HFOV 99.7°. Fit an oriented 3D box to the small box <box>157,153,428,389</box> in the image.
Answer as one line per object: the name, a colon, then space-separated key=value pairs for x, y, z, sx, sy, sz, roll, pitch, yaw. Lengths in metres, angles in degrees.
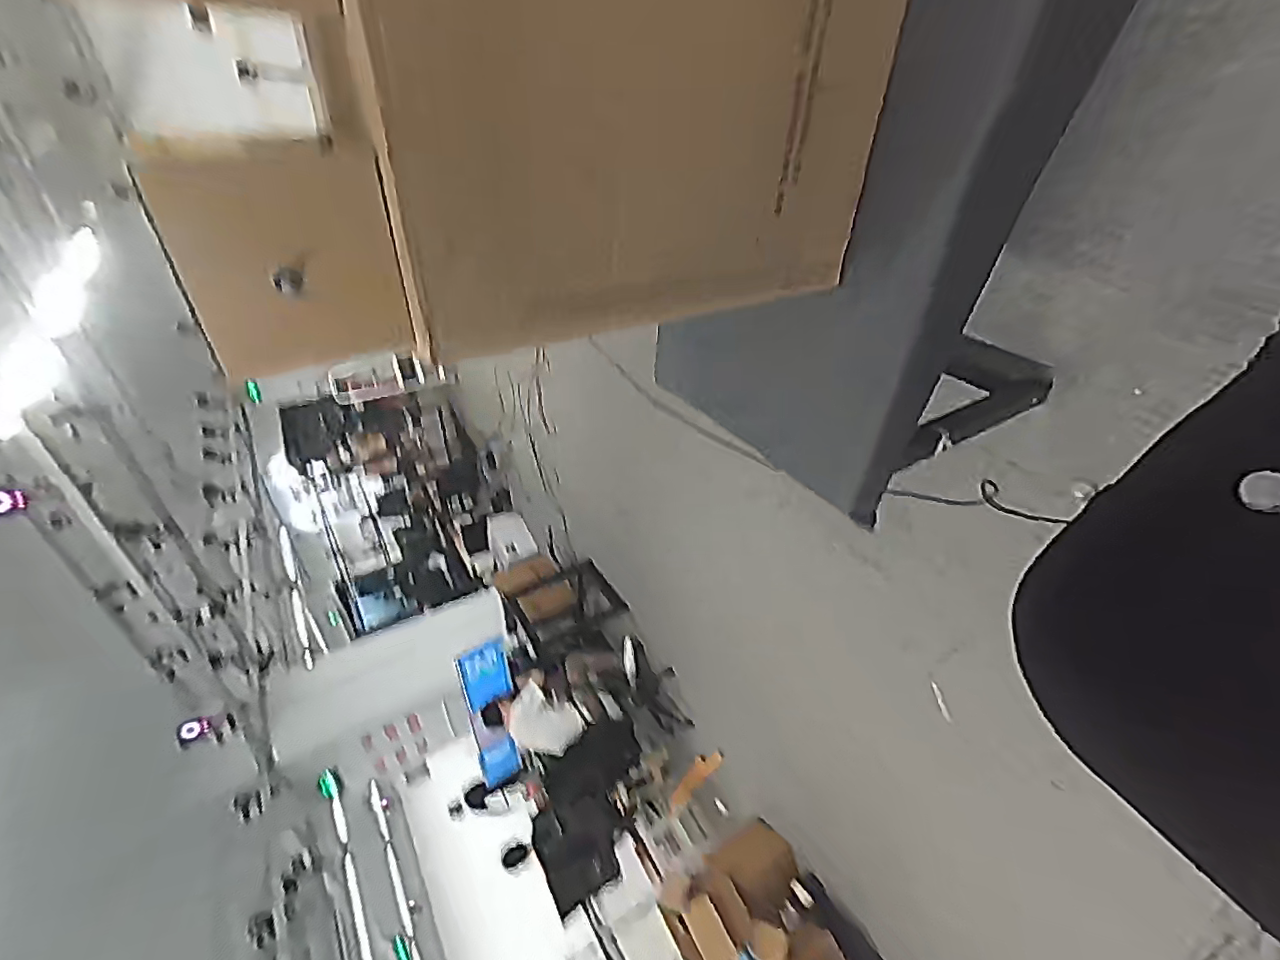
small box: x=-0.328 y=-0.214 z=0.528 sx=0.168 sy=0.176 sz=0.179 roll=38 pitch=138 yaw=43

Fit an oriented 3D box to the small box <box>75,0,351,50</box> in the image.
small box: x=-0.326 y=-0.423 z=0.388 sx=0.179 sy=0.176 sz=0.168 roll=43 pitch=141 yaw=41
